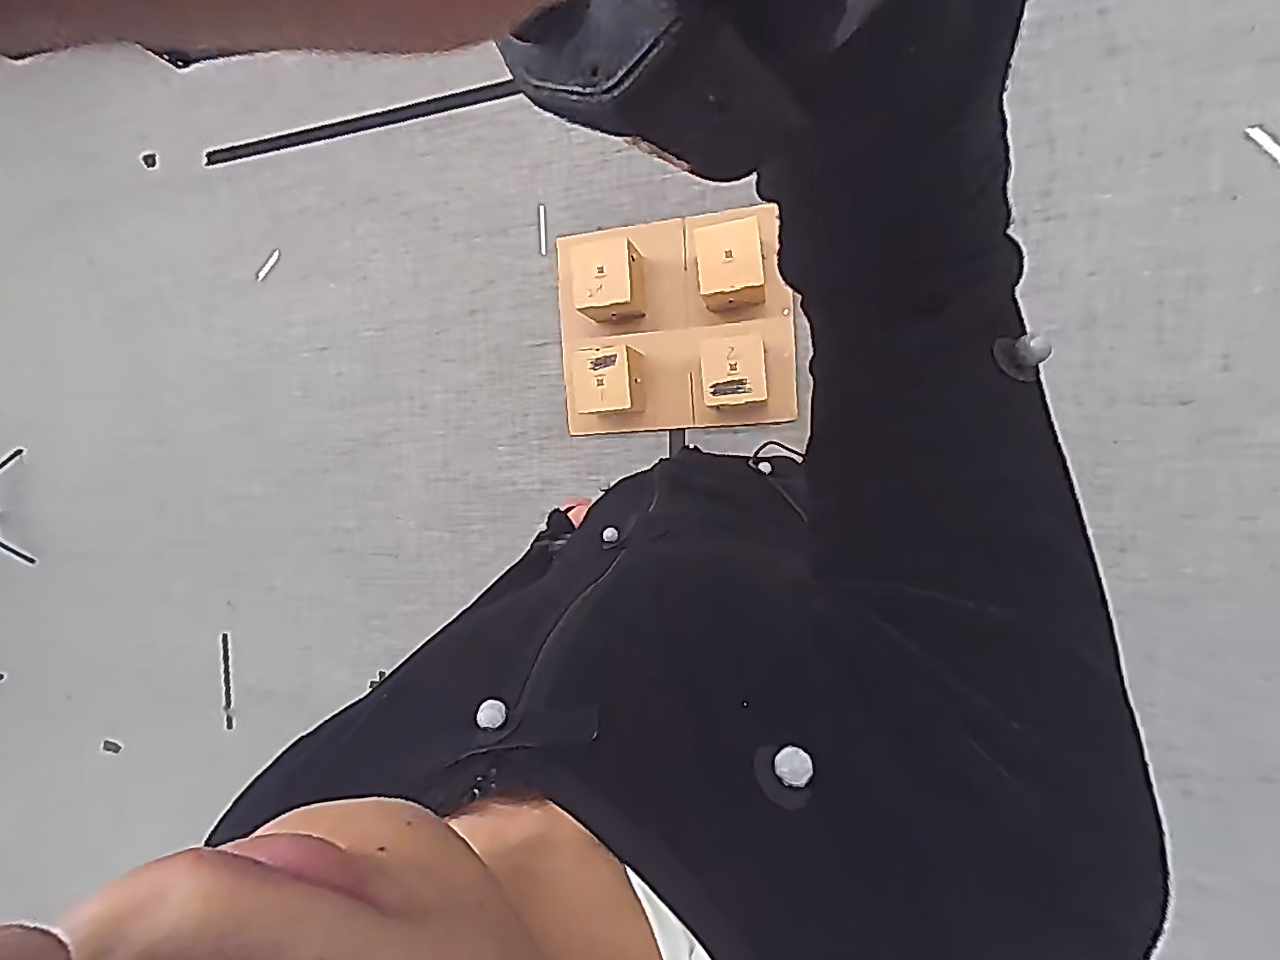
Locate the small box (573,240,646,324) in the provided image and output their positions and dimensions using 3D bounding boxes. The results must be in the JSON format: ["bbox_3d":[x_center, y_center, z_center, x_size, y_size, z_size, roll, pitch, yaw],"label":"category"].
[{"bbox_3d":[-0.084,-0.563,1.553,0.168,0.176,0.179,-3,93,16],"label":"small box"}]

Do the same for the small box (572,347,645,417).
[{"bbox_3d":[-0.086,-0.278,1.574,0.168,0.176,0.179,-3,94,16],"label":"small box"}]

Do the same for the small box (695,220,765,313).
[{"bbox_3d":[0.249,-0.574,1.471,0.168,0.176,0.179,-6,92,15],"label":"small box"}]
